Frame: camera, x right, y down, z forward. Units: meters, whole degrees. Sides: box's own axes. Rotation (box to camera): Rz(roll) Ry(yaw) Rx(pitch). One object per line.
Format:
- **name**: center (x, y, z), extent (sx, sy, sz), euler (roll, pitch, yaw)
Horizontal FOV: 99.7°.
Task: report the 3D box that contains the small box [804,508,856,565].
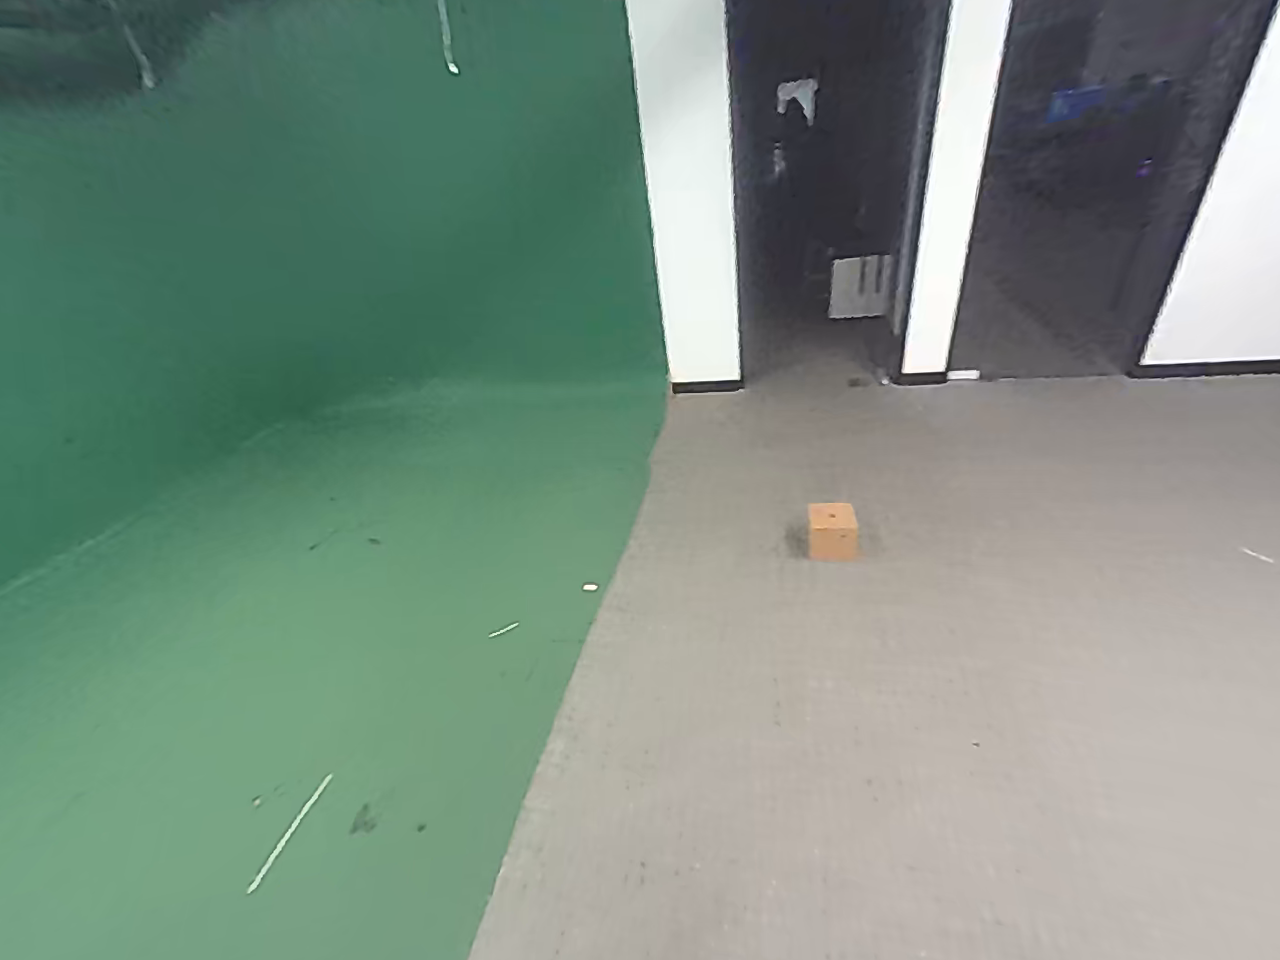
- **small box**: center (0.758, 0.228, 2.169), extent (0.179, 0.176, 0.168), euler (-2, 33, 12)
